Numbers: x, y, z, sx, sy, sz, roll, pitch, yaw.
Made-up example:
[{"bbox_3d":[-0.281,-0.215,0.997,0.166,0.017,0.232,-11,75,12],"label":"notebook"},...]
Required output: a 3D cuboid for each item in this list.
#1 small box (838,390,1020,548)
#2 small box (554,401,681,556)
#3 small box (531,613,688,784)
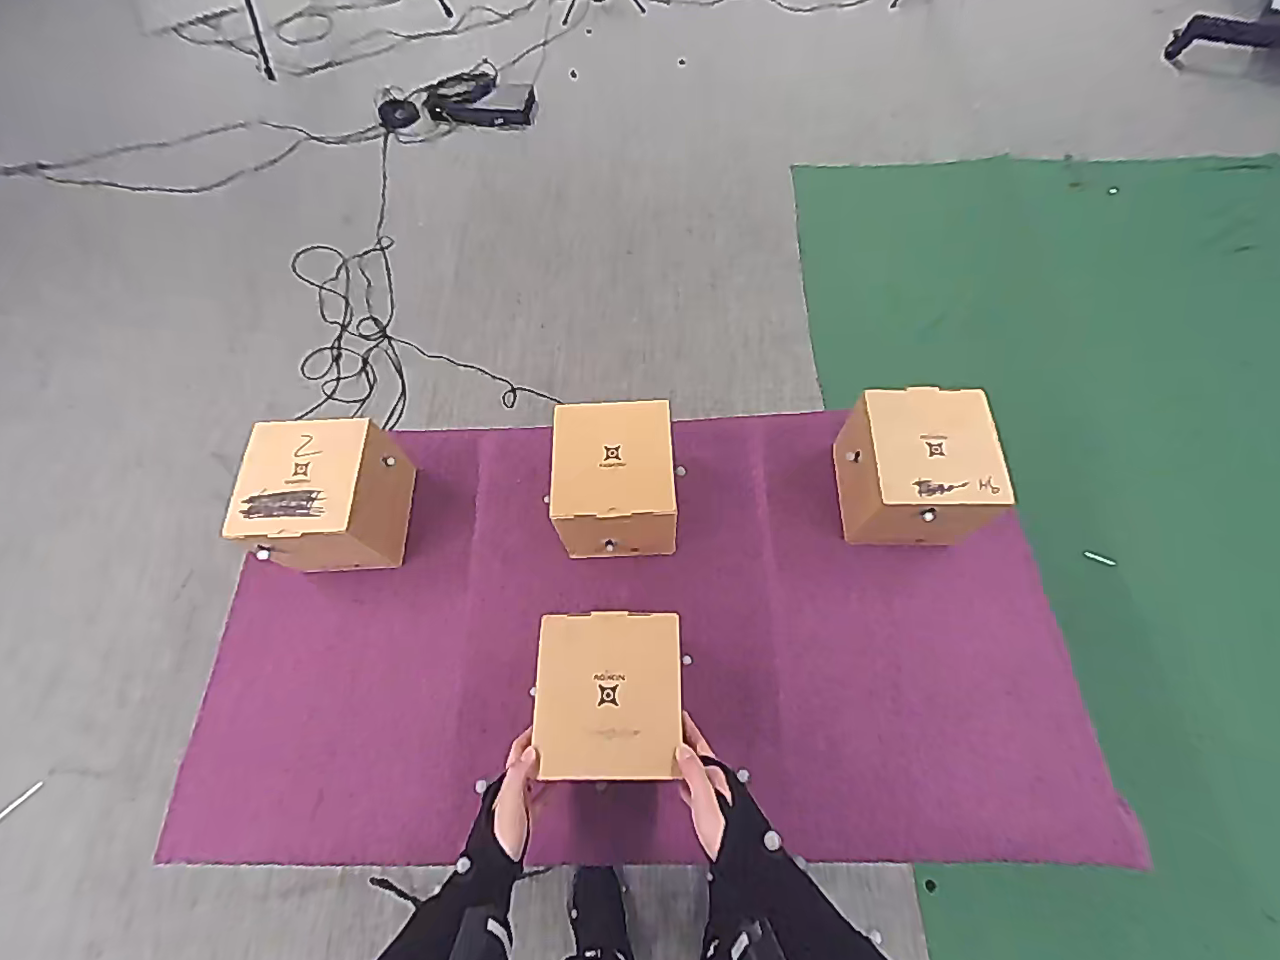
[{"bbox_3d":[0.400,-0.012,0.786,0.168,0.176,0.179,0,65,4],"label":"small box"},{"bbox_3d":[-0.030,0.003,0.798,0.168,0.176,0.179,-2,65,0],"label":"small box"},{"bbox_3d":[-0.028,0.270,0.666,0.168,0.176,0.179,-1,64,2],"label":"small box"}]
